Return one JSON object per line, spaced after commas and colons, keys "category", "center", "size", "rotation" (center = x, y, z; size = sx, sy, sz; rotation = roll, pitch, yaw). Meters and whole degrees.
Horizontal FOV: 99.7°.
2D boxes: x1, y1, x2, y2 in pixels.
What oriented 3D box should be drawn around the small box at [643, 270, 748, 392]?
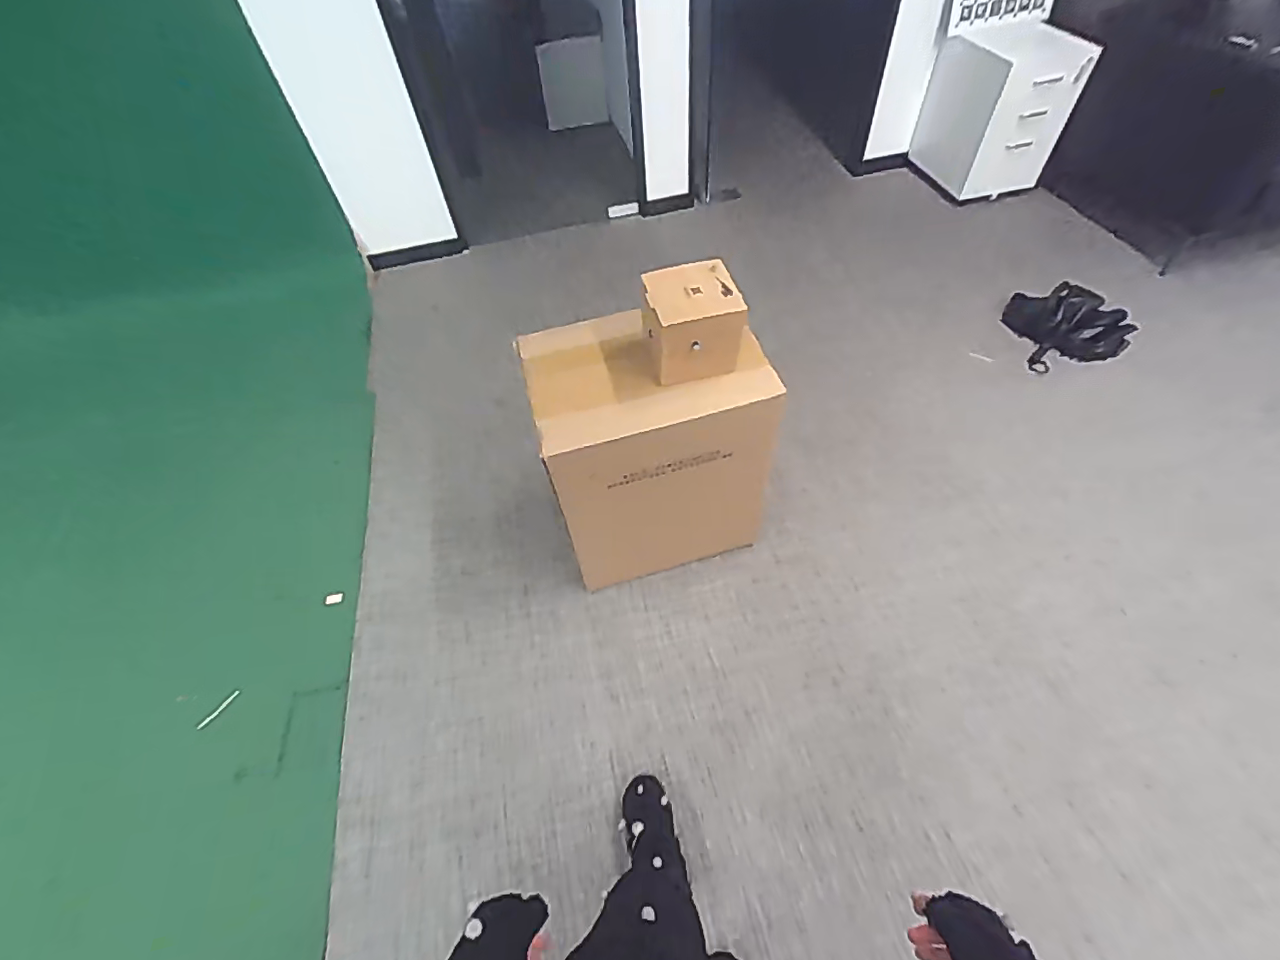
{"category": "small box", "center": [0.114, -0.310, 1.145], "size": [0.179, 0.176, 0.168], "rotation": [-13, 58, -5]}
